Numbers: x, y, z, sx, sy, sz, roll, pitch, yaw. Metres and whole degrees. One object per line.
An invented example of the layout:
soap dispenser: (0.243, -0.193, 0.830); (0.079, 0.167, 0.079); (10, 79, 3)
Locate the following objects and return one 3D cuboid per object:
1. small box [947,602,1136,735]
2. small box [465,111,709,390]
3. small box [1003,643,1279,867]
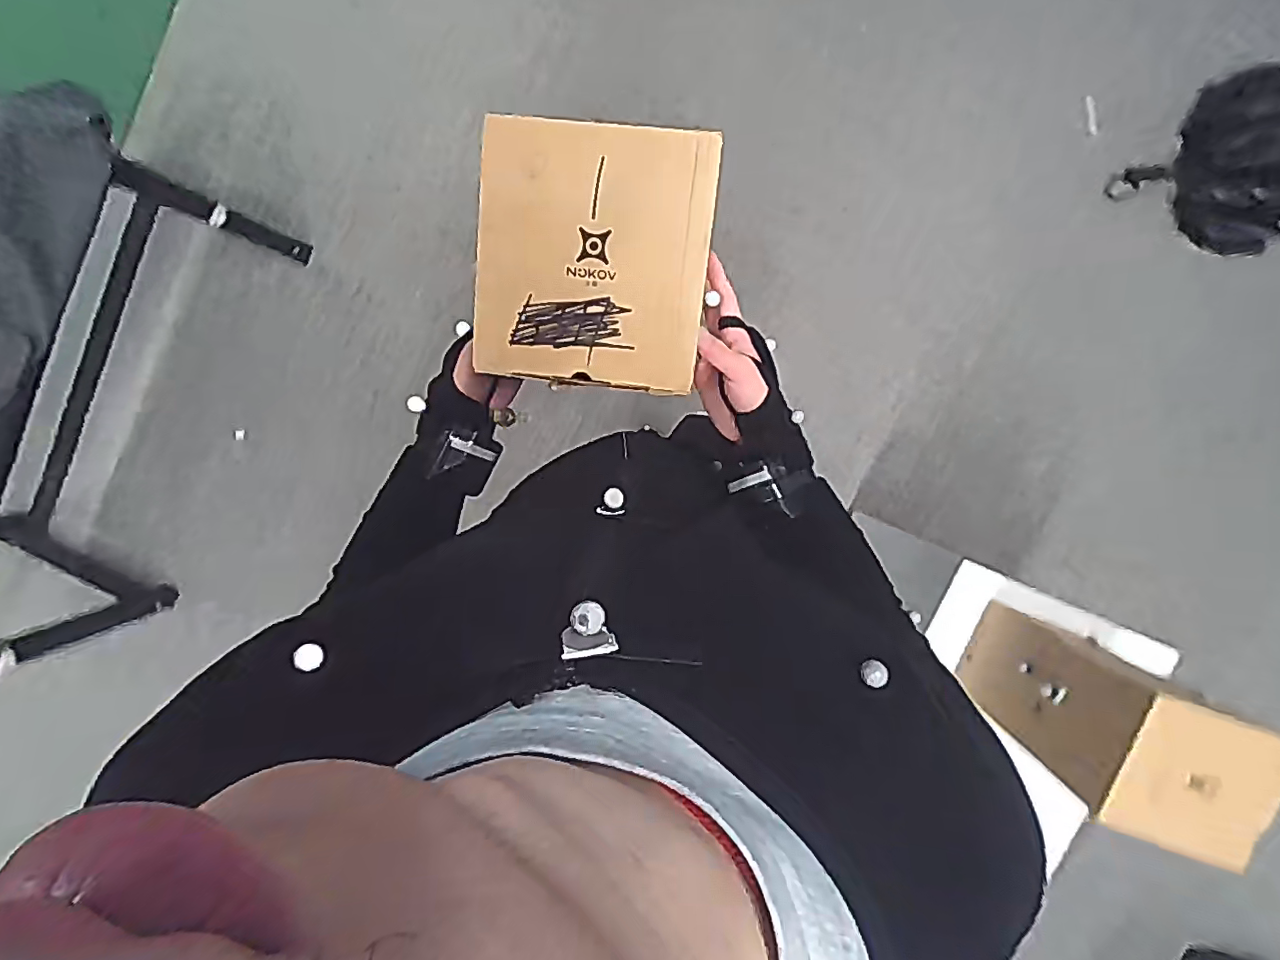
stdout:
small box: (0.636, 0.315, 0.854); (0.179, 0.176, 0.168); (22, 98, 0)
small box: (-0.035, -0.174, 0.460); (0.168, 0.176, 0.179); (7, 101, 3)
small box: (0.625, 0.334, 0.693); (0.179, 0.176, 0.168); (20, 97, 2)
